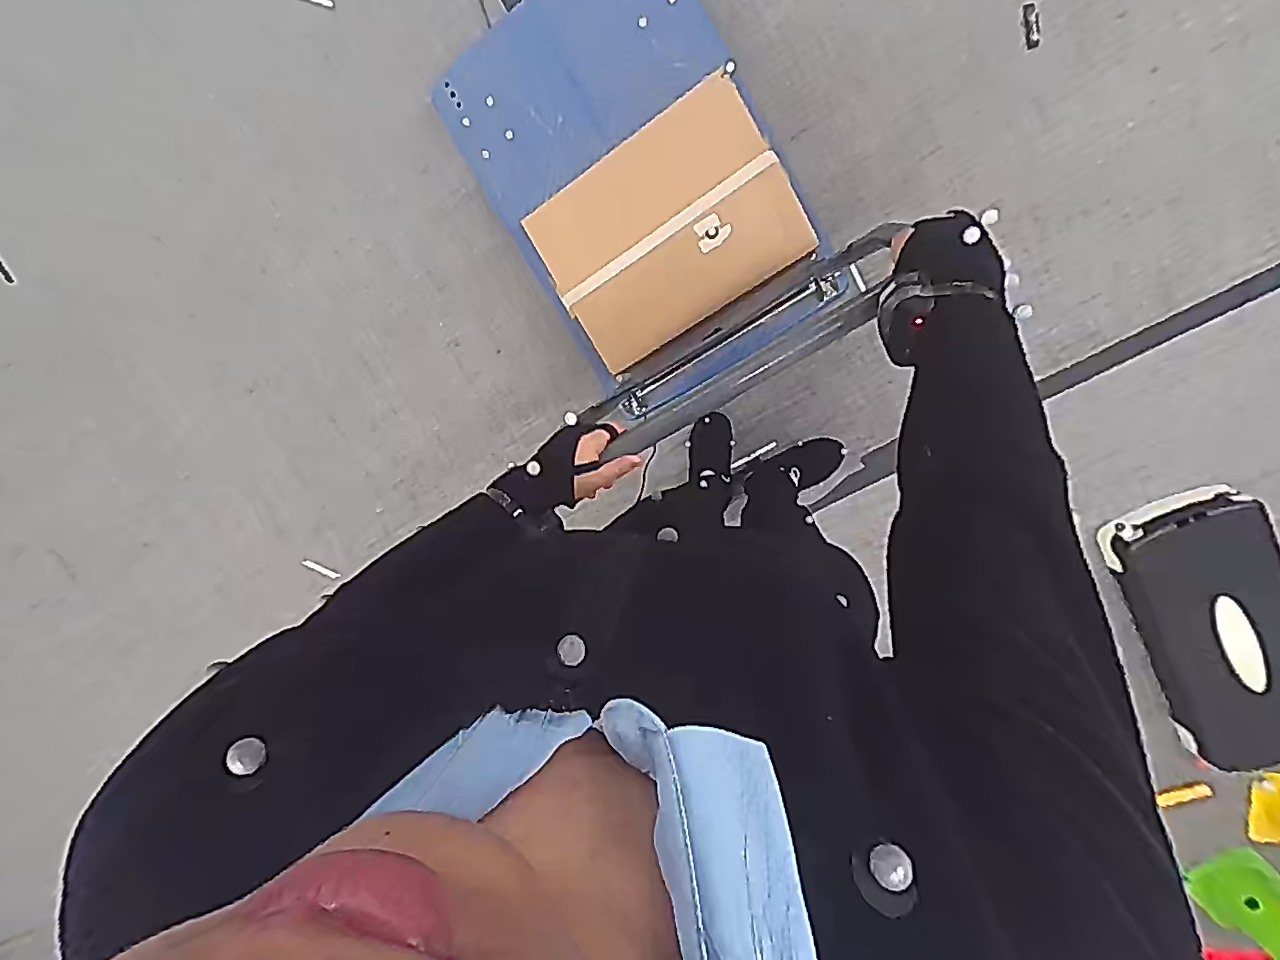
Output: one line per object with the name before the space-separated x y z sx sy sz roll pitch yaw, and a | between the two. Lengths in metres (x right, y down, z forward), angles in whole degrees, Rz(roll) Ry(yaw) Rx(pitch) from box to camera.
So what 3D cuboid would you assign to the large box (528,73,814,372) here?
large box | 0.067 -0.445 1.055 0.408 0.320 0.320 -30 96 15
